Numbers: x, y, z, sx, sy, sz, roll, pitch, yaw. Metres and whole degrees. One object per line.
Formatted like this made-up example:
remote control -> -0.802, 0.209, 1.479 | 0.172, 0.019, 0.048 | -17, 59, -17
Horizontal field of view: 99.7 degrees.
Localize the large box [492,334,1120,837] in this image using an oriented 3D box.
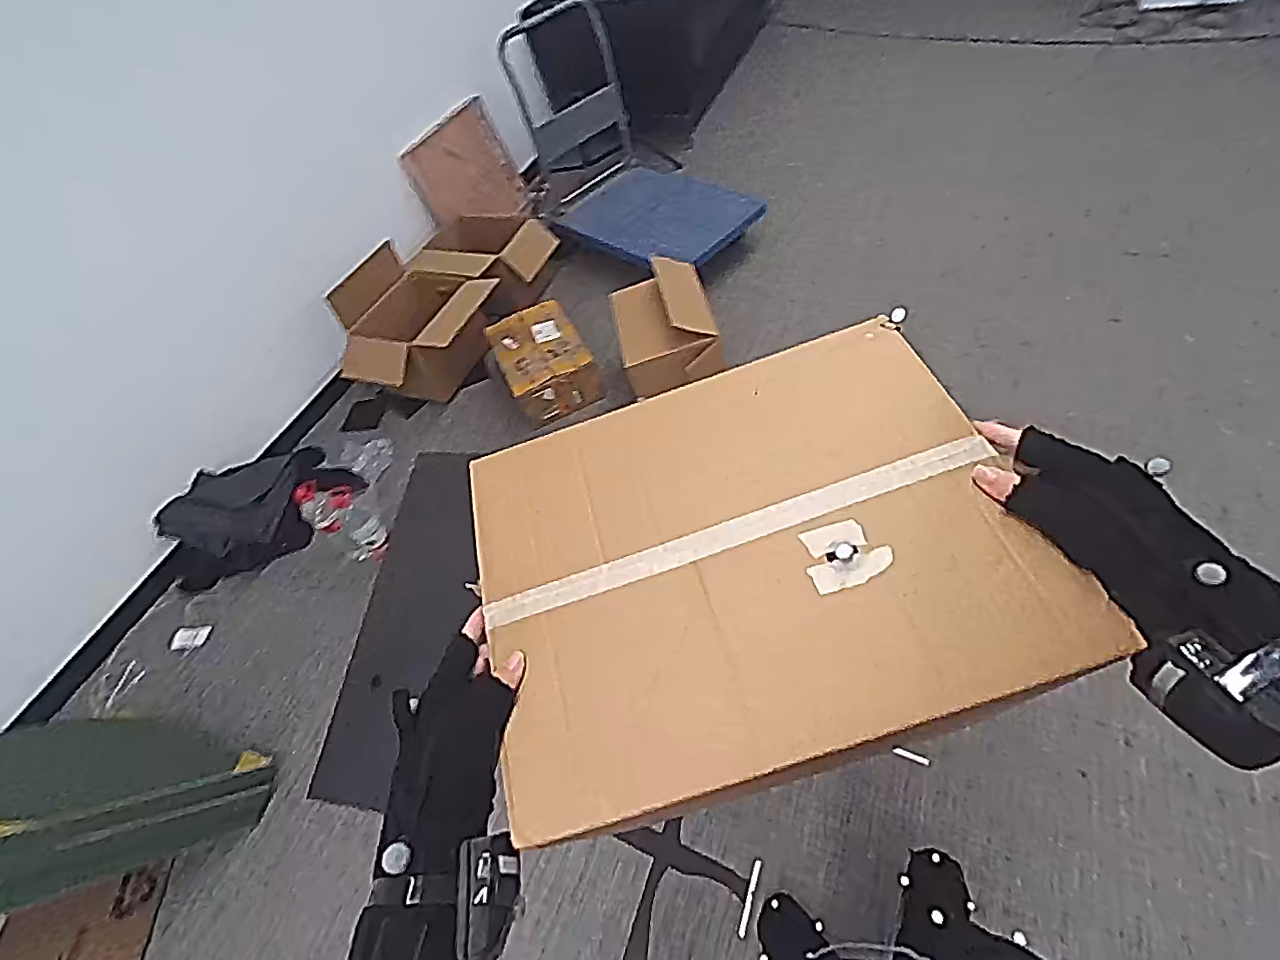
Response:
large box -> 0.111, 0.124, 0.552 | 0.408, 0.320, 0.320 | -19, 57, 2
